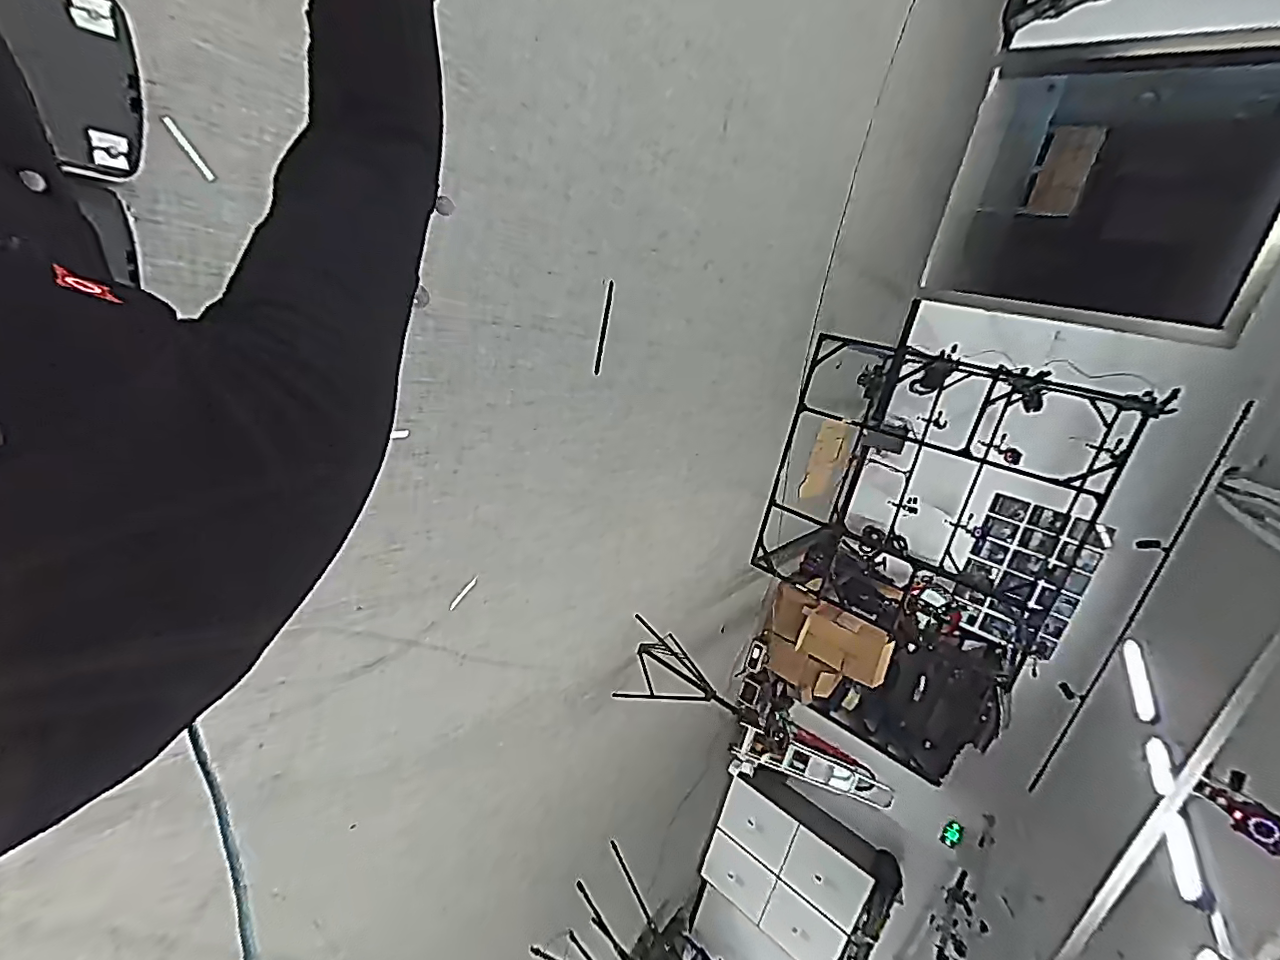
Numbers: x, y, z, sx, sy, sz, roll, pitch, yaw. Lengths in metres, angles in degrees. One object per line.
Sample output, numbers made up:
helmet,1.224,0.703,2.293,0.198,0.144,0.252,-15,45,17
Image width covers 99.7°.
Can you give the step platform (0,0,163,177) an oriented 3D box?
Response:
step platform,-1.119,-0.665,0.752,0.684,0.204,0.286,-15,122,-51
